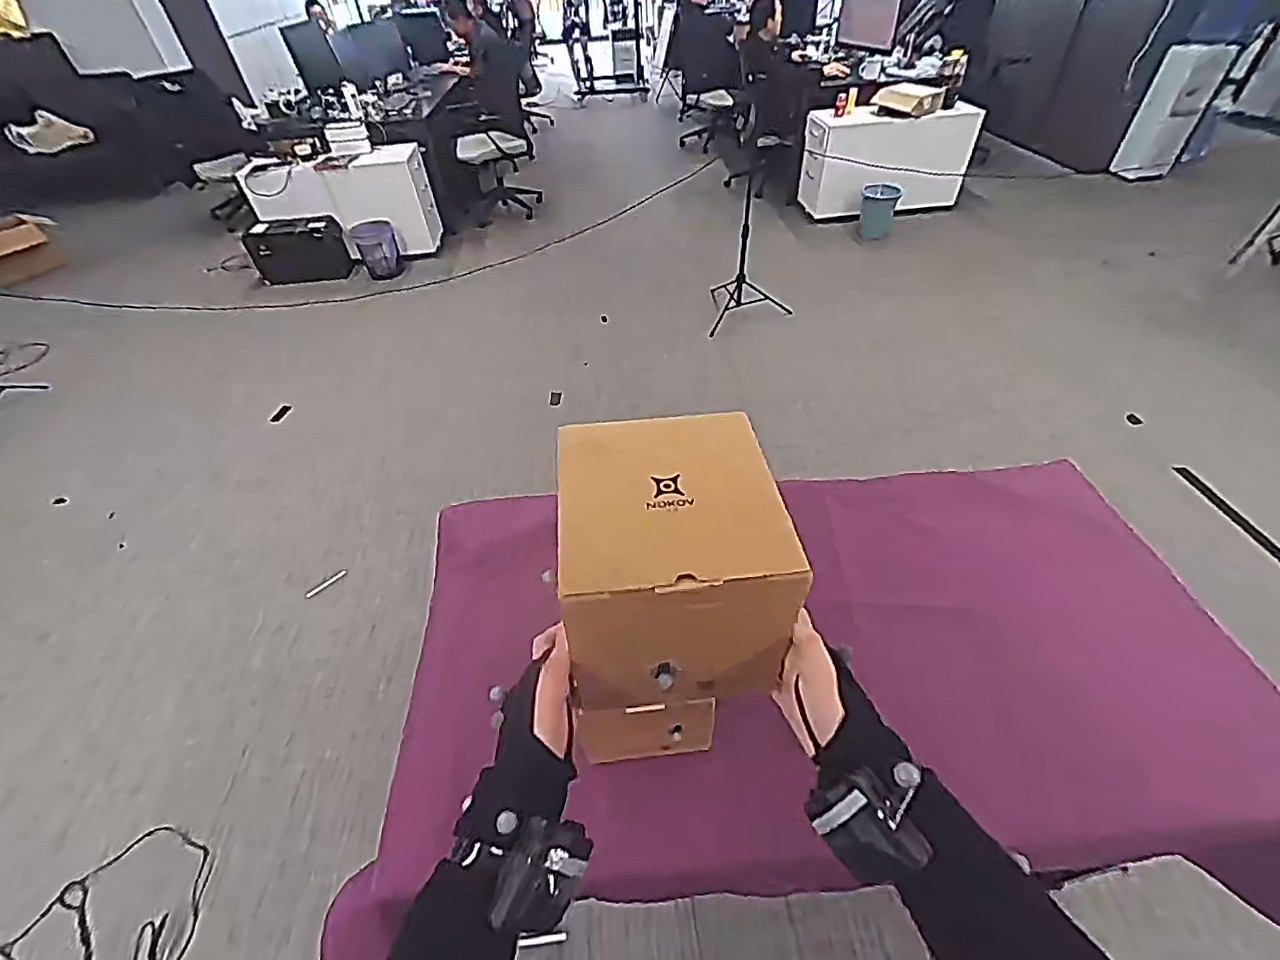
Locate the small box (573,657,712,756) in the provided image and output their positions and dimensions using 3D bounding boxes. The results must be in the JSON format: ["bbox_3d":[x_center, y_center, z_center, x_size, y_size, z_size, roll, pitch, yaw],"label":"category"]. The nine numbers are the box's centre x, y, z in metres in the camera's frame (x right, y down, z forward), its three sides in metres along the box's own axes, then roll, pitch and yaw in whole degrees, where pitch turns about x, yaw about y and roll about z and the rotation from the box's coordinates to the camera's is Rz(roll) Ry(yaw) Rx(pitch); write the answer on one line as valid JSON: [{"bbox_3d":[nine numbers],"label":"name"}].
[{"bbox_3d":[0.002,0.256,0.732,0.168,0.176,0.179,-5,45,-2],"label":"small box"}]

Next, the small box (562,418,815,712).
[{"bbox_3d":[0.023,0.069,0.456,0.168,0.176,0.179,-5,45,-5],"label":"small box"}]
